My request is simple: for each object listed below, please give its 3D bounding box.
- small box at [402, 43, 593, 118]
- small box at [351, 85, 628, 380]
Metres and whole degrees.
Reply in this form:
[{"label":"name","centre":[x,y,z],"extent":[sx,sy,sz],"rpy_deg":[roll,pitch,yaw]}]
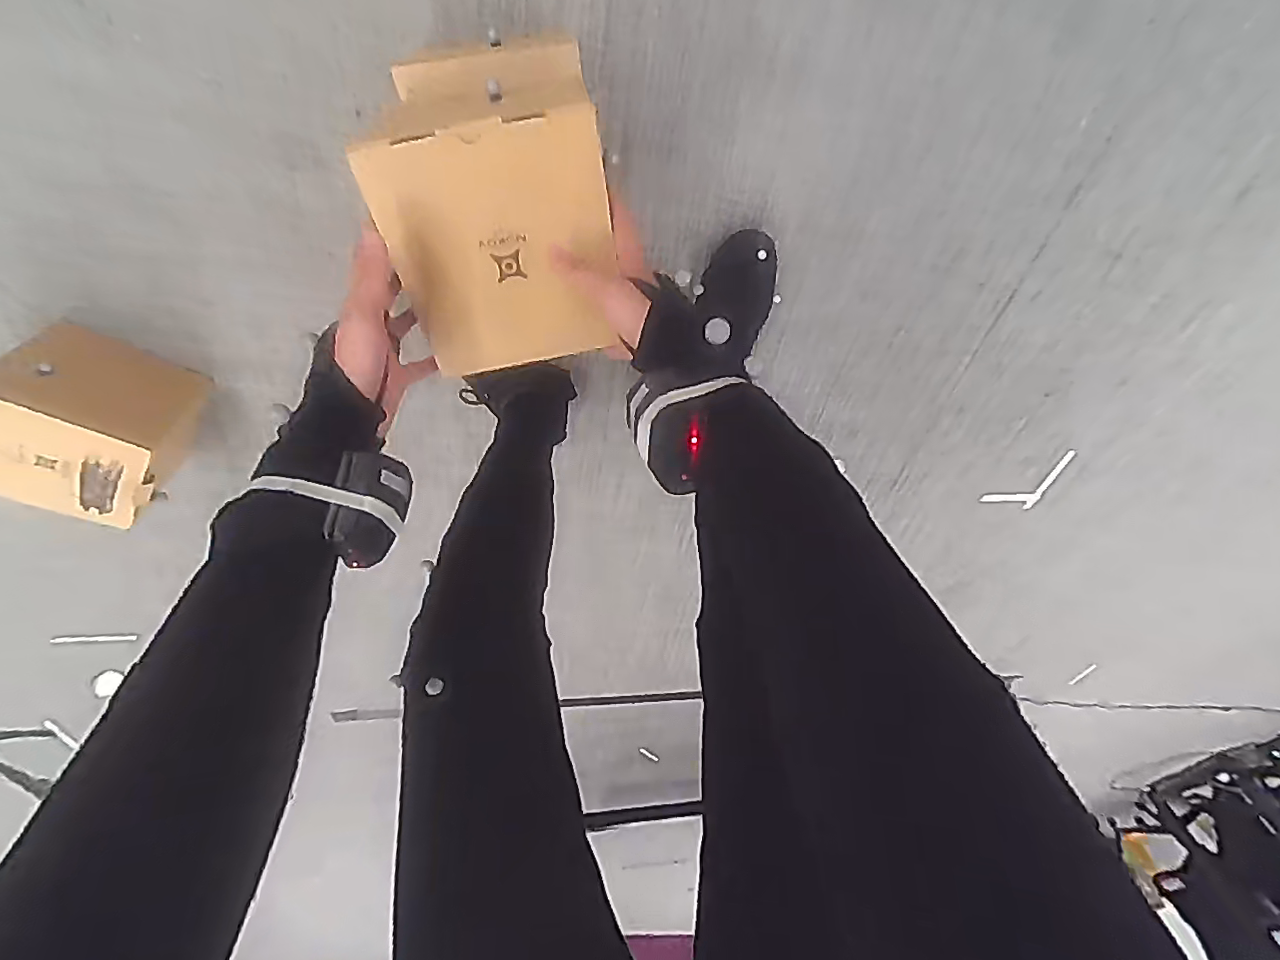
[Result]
[{"label":"small box","centre":[-0.135,-0.357,0.586],"extent":[0.168,0.176,0.179],"rpy_deg":[-9,132,-3]},{"label":"small box","centre":[-0.109,-0.215,0.466],"extent":[0.168,0.176,0.179],"rpy_deg":[-11,131,-1]}]
